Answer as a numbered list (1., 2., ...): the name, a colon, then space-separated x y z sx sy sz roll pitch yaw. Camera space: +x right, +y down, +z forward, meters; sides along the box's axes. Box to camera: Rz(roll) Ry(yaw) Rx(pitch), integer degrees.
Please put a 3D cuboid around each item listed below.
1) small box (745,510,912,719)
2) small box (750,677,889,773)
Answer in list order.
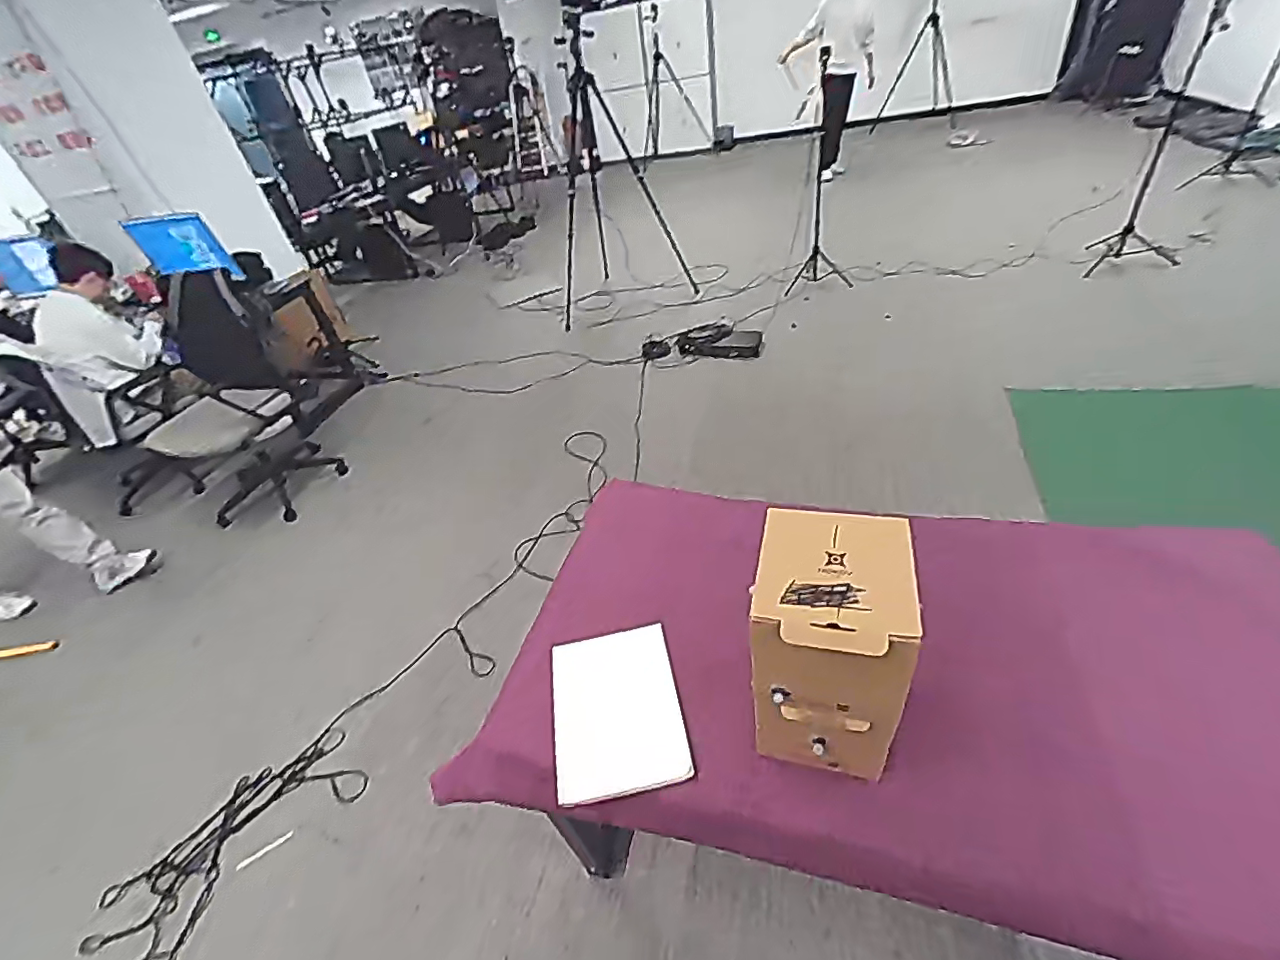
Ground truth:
1. small box: 0.226 0.160 0.658 0.168 0.176 0.179 4 40 18
2. small box: 0.253 0.283 0.766 0.168 0.176 0.179 4 42 18
